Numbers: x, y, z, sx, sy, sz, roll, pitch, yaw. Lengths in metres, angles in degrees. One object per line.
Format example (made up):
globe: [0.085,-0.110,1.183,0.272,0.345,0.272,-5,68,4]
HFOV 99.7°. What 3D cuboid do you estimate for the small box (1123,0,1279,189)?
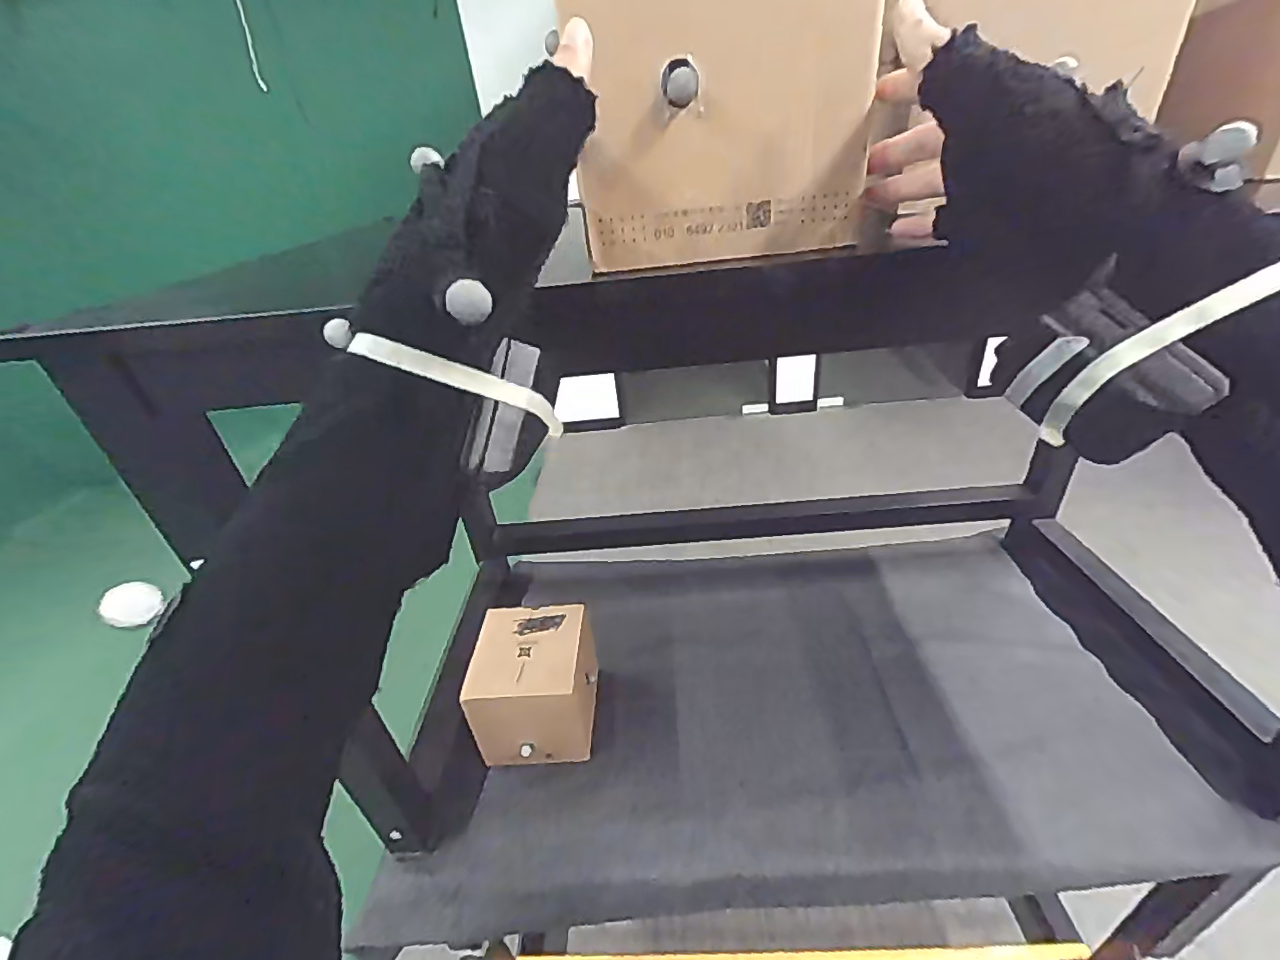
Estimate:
small box: [0.514,-0.316,0.395,0.168,0.176,0.179,2,32,13]

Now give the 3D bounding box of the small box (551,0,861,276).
small box: [0.042,-0.244,0.373,0.168,0.176,0.179,-6,31,2]

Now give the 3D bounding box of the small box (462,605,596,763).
small box: [-0.166,0.328,0.877,0.168,0.176,0.179,-4,32,3]
